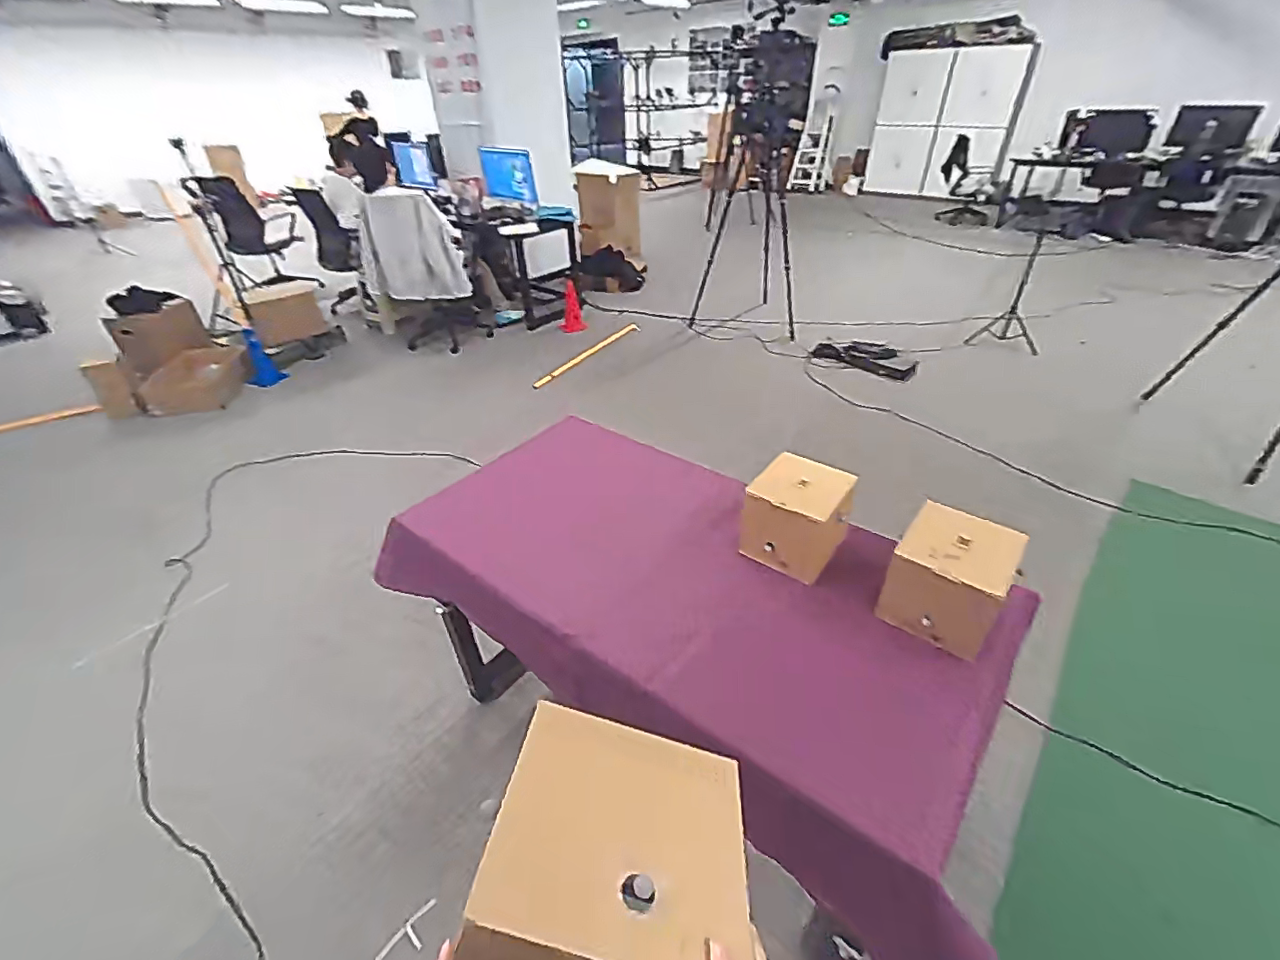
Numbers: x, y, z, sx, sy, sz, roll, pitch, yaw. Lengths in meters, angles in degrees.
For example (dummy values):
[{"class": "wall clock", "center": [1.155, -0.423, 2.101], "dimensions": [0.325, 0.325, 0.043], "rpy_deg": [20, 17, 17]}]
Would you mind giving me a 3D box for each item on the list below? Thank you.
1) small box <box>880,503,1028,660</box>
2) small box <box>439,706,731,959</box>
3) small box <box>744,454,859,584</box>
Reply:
[{"class": "small box", "center": [0.546, 0.176, 0.956], "dimensions": [0.168, 0.176, 0.179], "rpy_deg": [25, 47, 34]}, {"class": "small box", "center": [-0.039, 0.306, 0.411], "dimensions": [0.179, 0.168, 0.176], "rpy_deg": [18, 22, -1]}, {"class": "small box", "center": [0.326, 0.078, 1.117], "dimensions": [0.168, 0.176, 0.179], "rpy_deg": [23, 44, 32]}]
